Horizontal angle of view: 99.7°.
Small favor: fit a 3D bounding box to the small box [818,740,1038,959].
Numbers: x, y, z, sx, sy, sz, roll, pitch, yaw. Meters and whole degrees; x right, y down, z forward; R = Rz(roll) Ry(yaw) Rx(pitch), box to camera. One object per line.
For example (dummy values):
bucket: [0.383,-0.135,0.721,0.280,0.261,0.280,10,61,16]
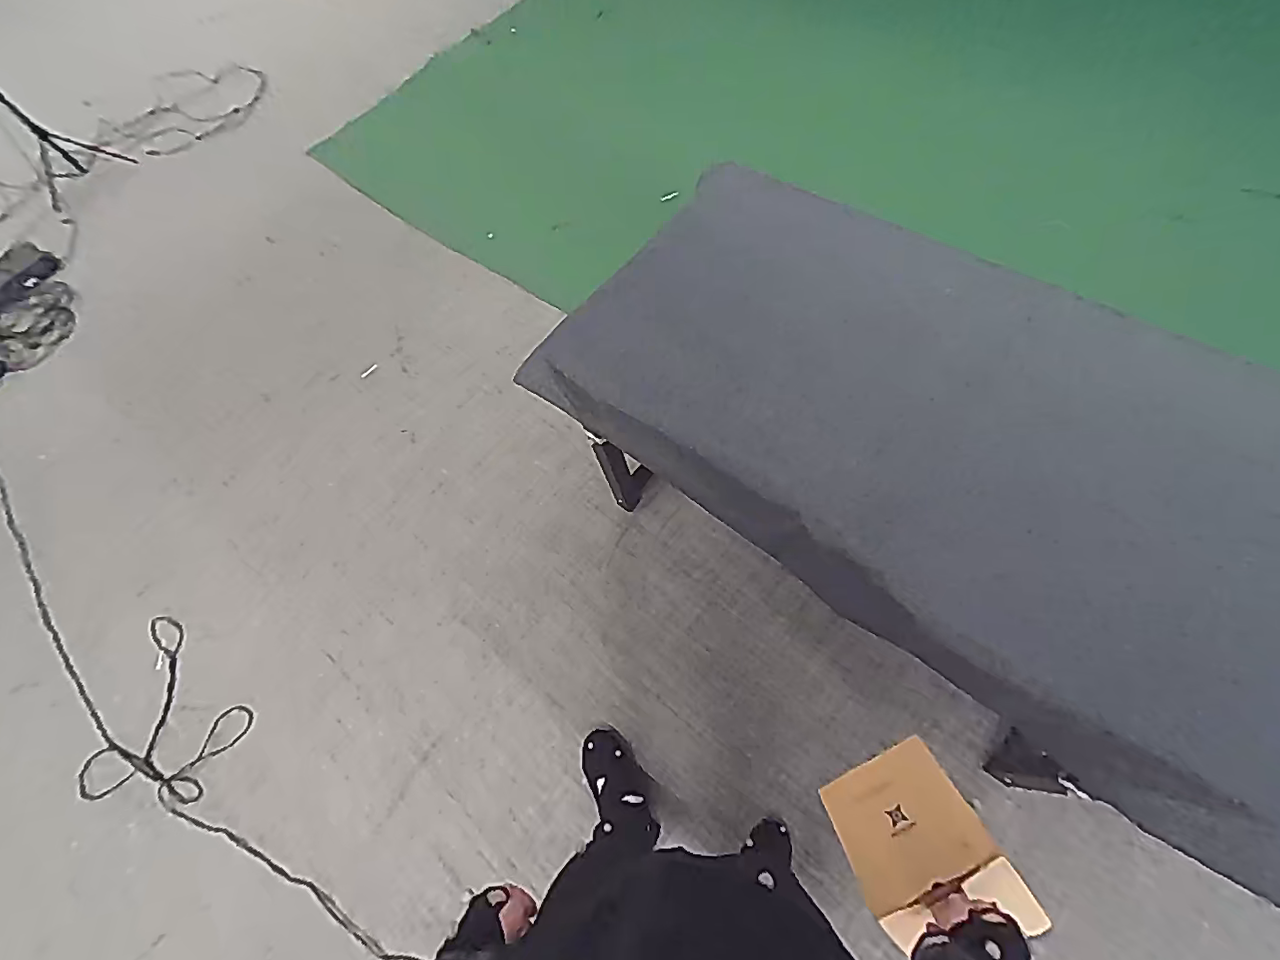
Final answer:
small box: [0.371,0.496,0.712,0.168,0.179,0.176,-32,107,10]
